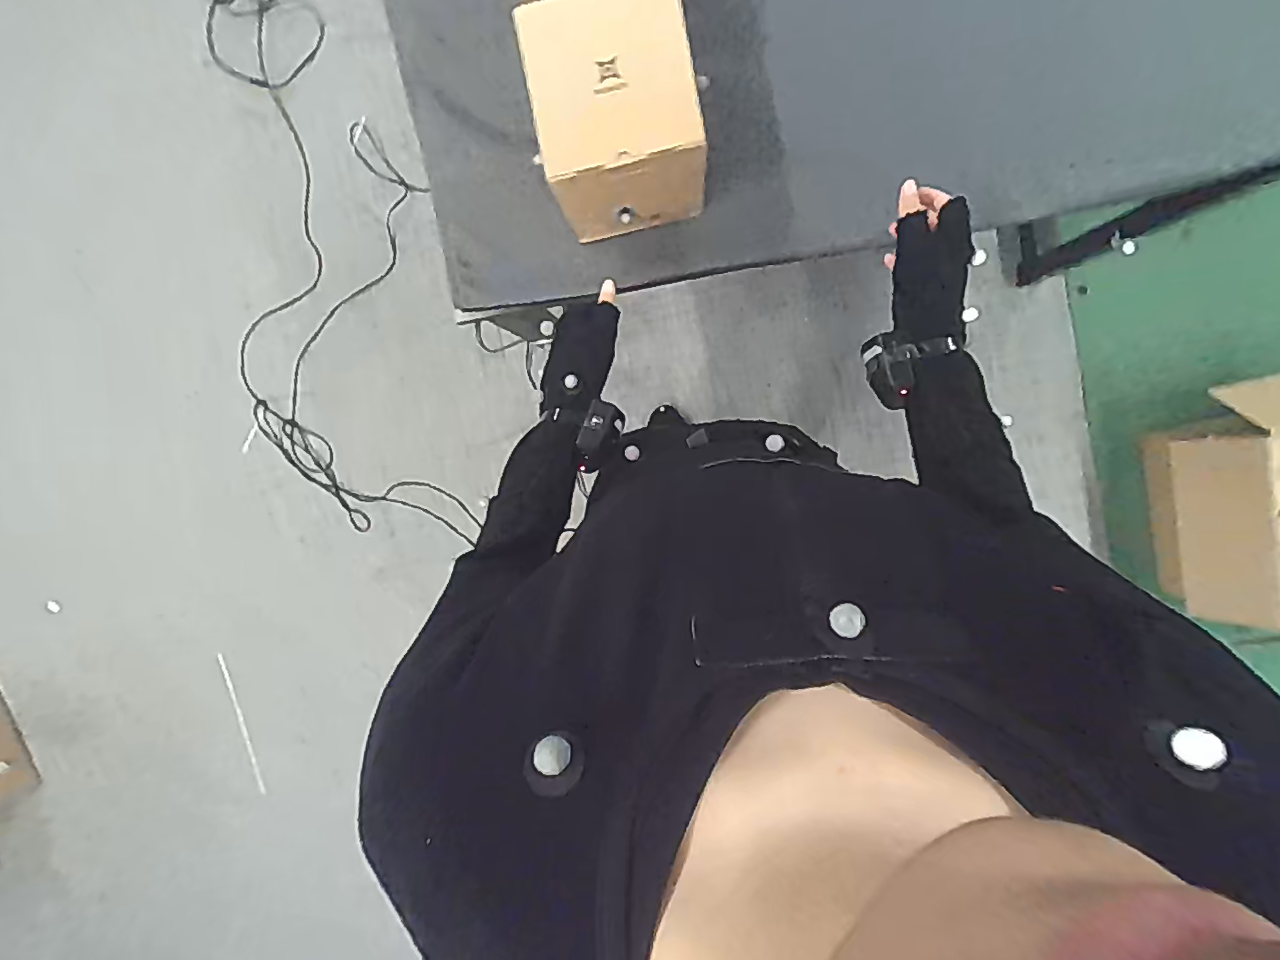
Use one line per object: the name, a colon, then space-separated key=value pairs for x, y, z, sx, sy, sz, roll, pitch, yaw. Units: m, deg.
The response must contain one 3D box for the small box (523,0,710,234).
small box: x=-0.018 y=-0.416 z=0.623 sx=0.168 sy=0.176 sz=0.179 roll=-11 pitch=93 yaw=6
